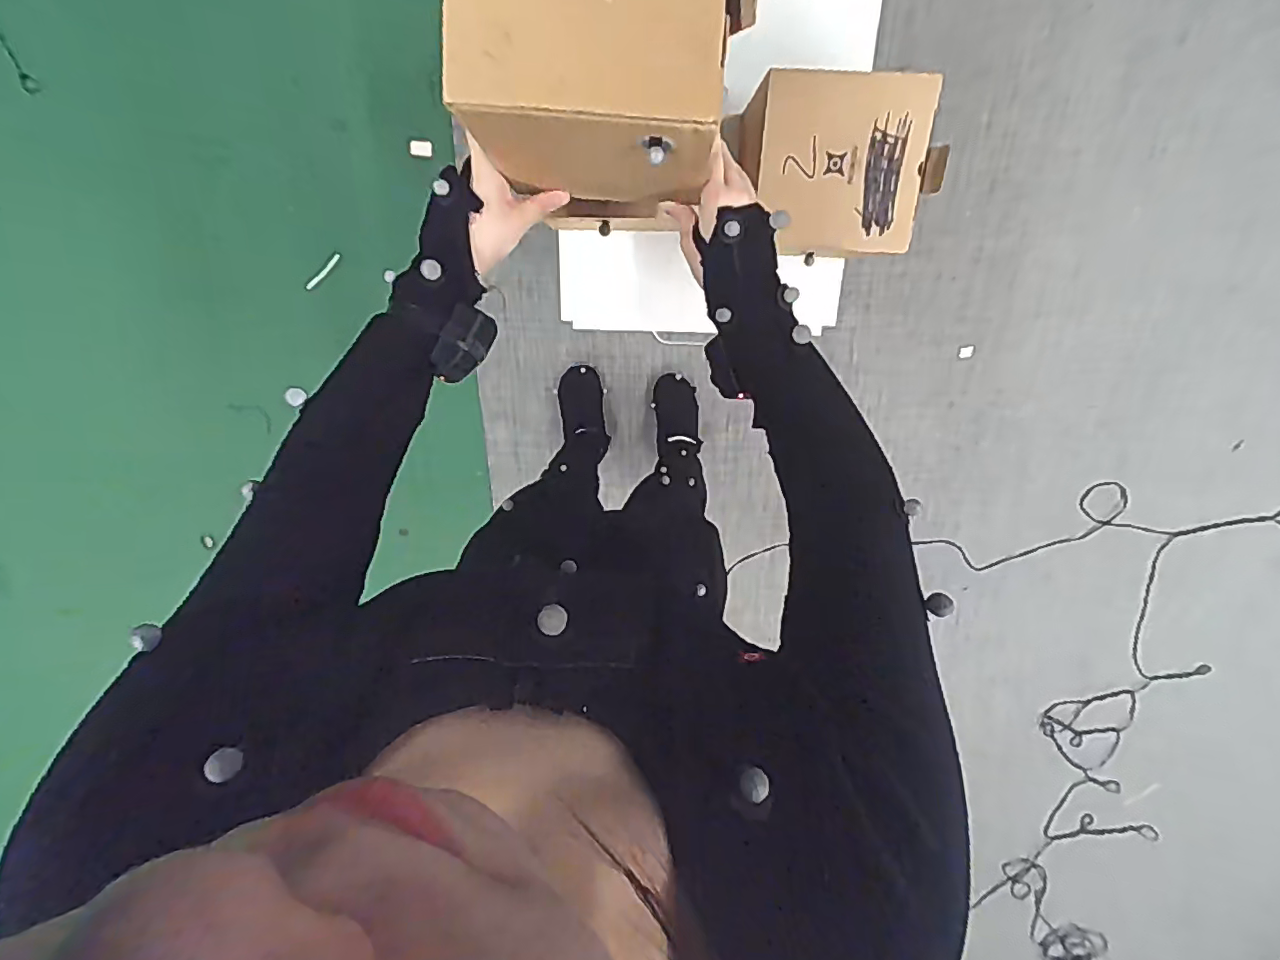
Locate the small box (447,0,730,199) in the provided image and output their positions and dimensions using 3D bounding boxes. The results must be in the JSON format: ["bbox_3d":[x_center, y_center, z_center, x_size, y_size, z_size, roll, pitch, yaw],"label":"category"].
[{"bbox_3d":[-0.028,-0.330,0.408,0.179,0.176,0.168,4,100,0],"label":"small box"}]

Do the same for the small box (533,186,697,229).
[{"bbox_3d":[-0.027,-0.389,0.627,0.179,0.176,0.168,0,110,-2],"label":"small box"}]
